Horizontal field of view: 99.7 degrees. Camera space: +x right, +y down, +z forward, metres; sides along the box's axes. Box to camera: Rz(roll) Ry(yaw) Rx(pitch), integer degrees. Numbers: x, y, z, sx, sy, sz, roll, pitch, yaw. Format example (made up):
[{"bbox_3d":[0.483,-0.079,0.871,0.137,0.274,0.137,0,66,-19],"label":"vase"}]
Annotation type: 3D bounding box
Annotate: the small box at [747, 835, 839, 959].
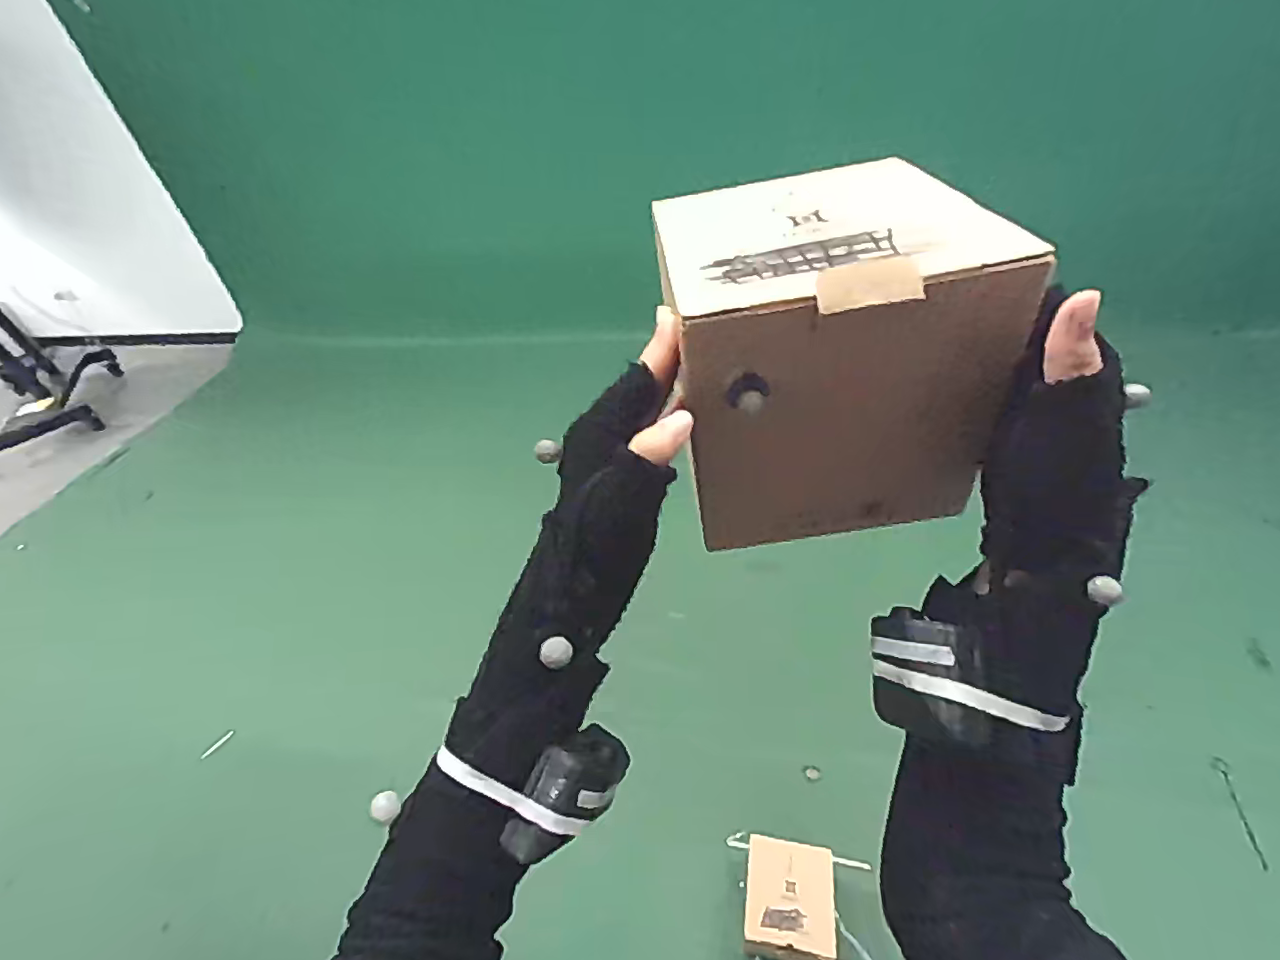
[{"bbox_3d":[0.309,0.865,1.105,0.168,0.176,0.179,4,43,13],"label":"small box"}]
